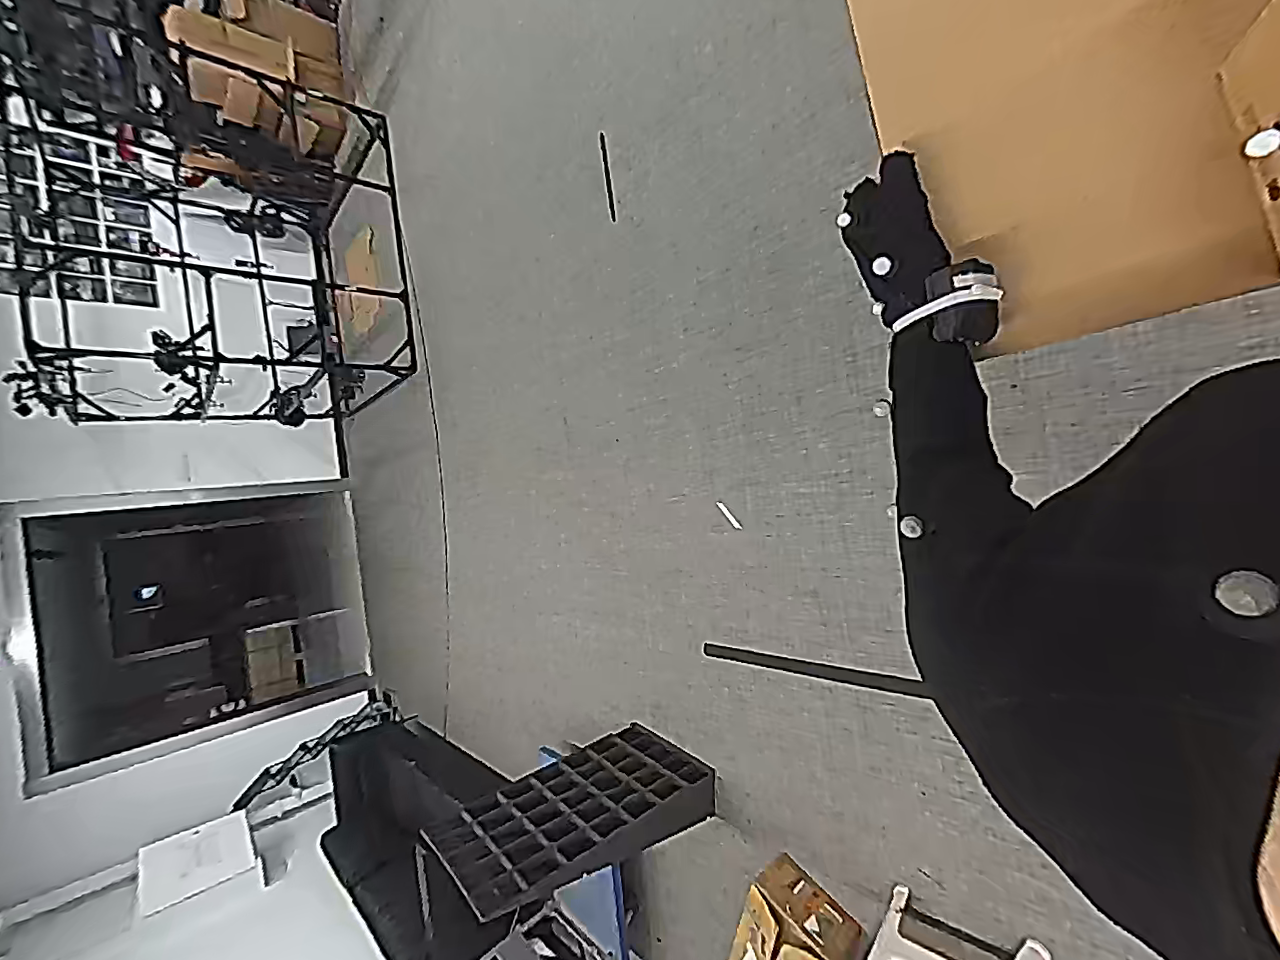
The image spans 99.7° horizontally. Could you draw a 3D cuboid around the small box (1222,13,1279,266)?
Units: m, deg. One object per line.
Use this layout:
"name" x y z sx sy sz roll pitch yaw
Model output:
"small box" 0.478 -0.236 0.285 0.179 0.176 0.168 -16 88 32
